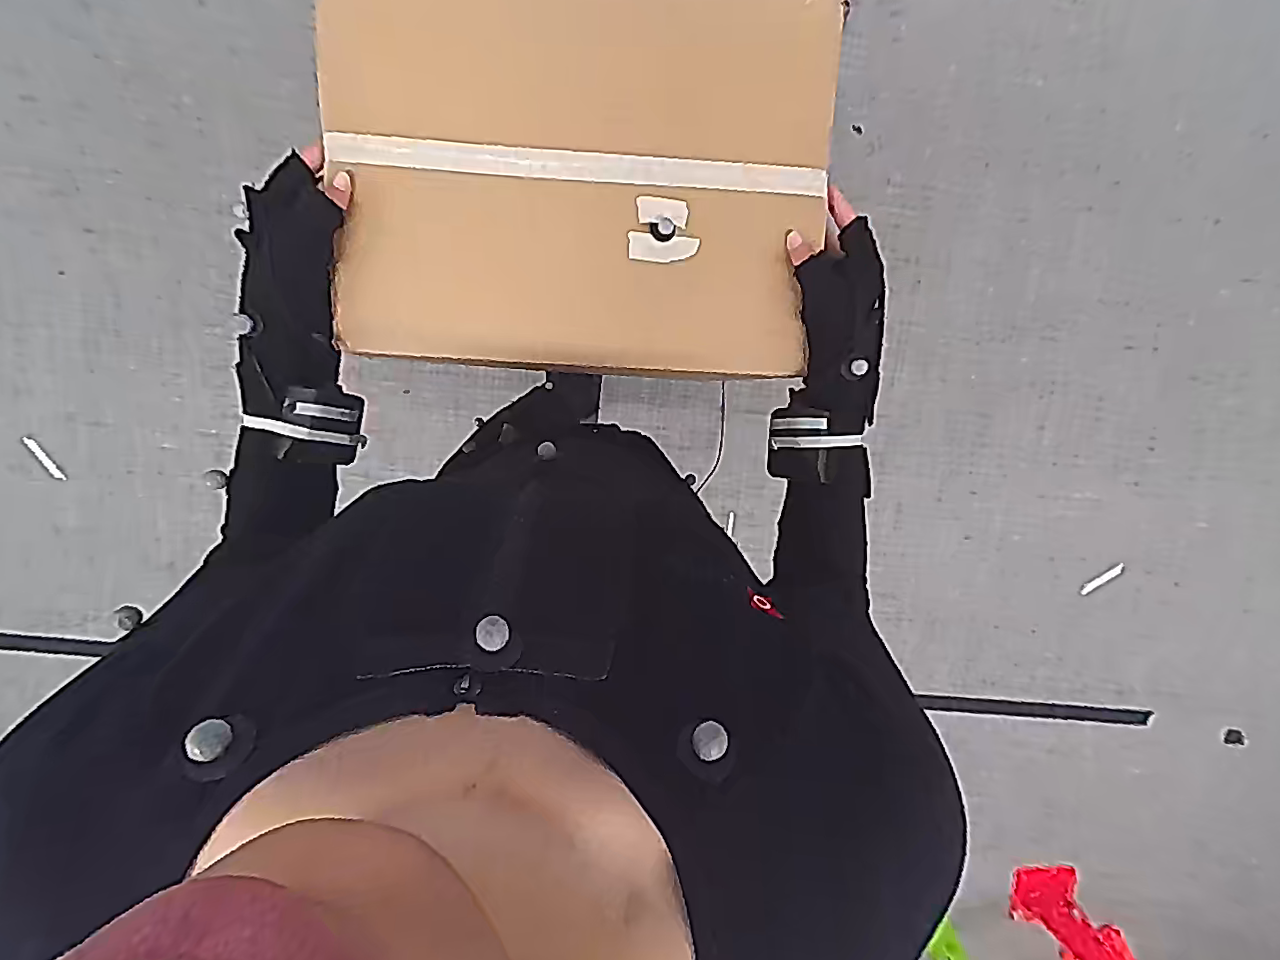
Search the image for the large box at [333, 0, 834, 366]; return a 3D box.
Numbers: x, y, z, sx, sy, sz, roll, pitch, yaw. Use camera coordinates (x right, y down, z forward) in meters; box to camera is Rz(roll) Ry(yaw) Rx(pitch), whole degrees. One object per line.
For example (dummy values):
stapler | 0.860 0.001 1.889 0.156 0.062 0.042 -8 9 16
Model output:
large box | -0.055 -0.292 0.594 0.408 0.320 0.320 2 101 -4
